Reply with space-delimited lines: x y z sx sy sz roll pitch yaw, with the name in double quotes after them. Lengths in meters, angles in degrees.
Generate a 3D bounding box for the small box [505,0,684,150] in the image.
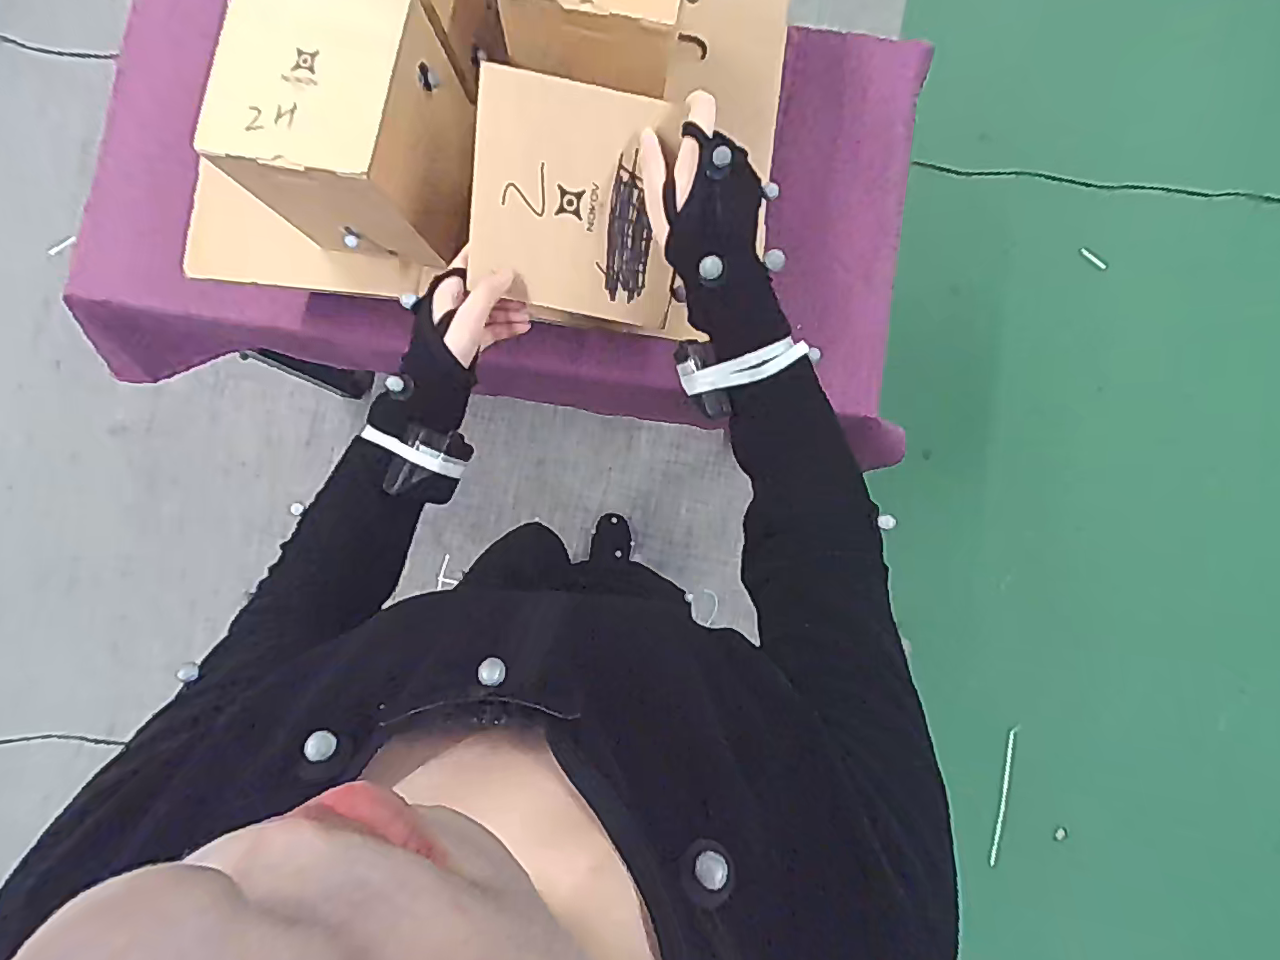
-0.039 -0.503 0.580 0.168 0.176 0.179 10 87 -3 "small box"
